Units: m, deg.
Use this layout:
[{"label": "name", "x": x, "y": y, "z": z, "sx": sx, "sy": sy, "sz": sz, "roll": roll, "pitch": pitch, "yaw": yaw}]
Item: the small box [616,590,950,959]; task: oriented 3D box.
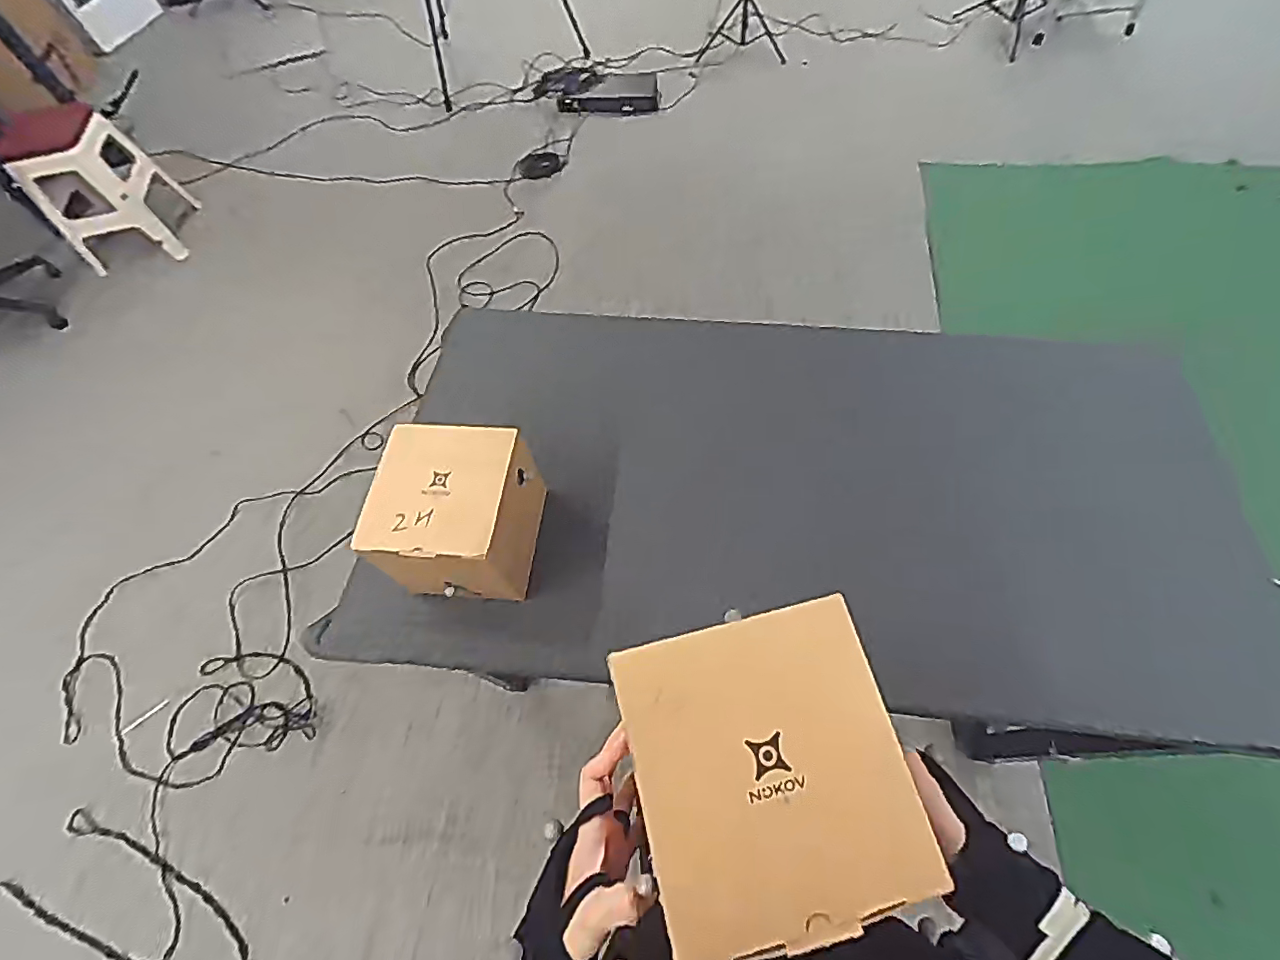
[{"label": "small box", "x": 0.077, "y": 0.199, "z": 0.404, "sx": 0.168, "sy": 0.176, "sz": 0.179, "roll": -12, "pitch": 69, "yaw": -7}]

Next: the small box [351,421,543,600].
[{"label": "small box", "x": -0.233, "y": 0.044, "z": 0.712, "sx": 0.168, "sy": 0.176, "sz": 0.179, "roll": 3, "pitch": 62, "yaw": 6}]
